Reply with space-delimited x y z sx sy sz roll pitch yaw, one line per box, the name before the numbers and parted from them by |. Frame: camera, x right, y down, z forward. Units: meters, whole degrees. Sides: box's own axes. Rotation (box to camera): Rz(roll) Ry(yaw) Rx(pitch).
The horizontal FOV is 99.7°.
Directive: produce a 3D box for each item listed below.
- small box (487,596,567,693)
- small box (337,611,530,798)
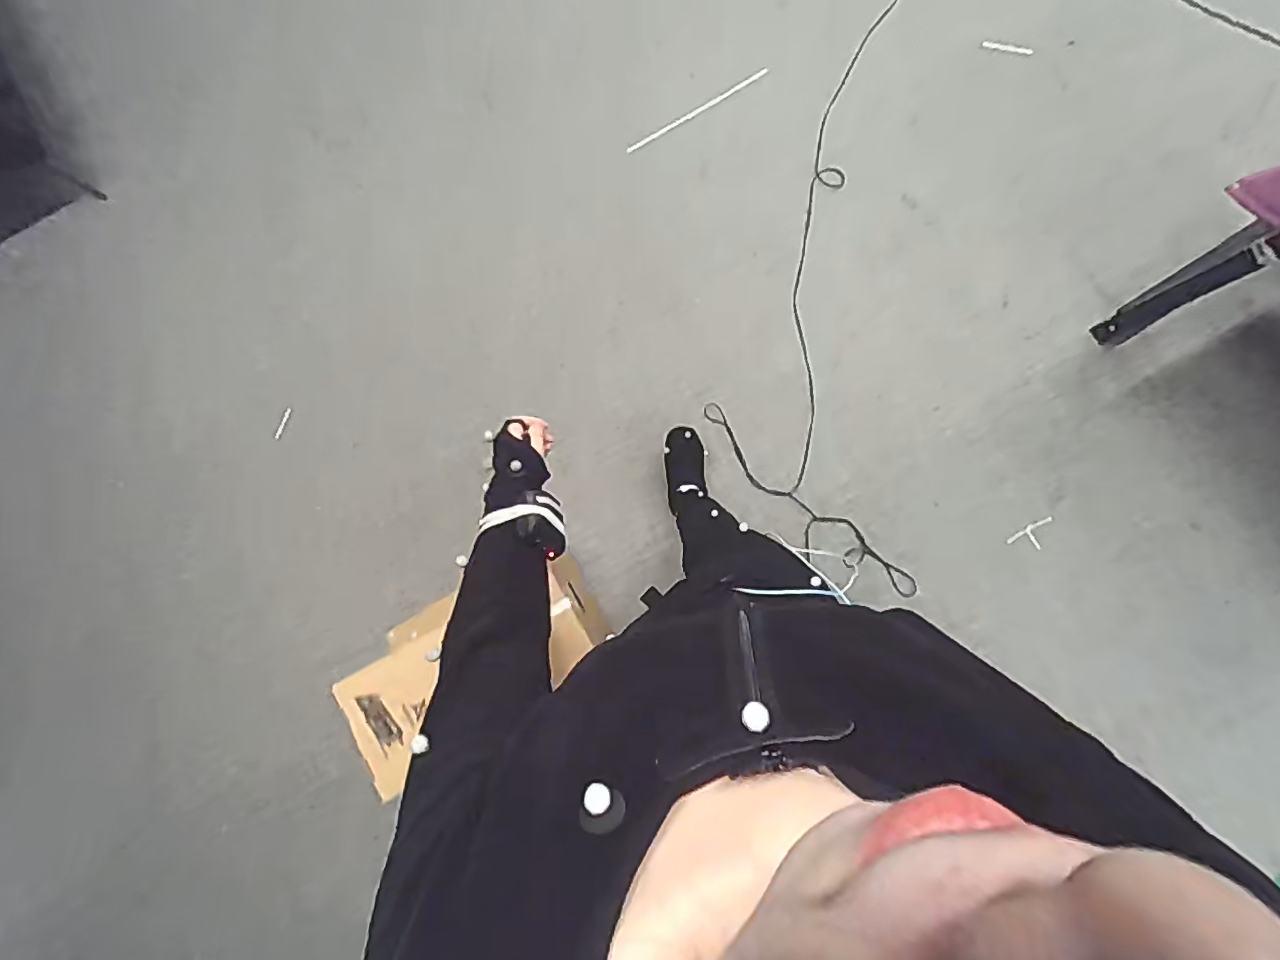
small box | -0.272 0.352 1.112 0.168 0.176 0.179 -32 84 0
small box | -0.285 0.310 0.785 0.179 0.176 0.168 -29 84 -1
